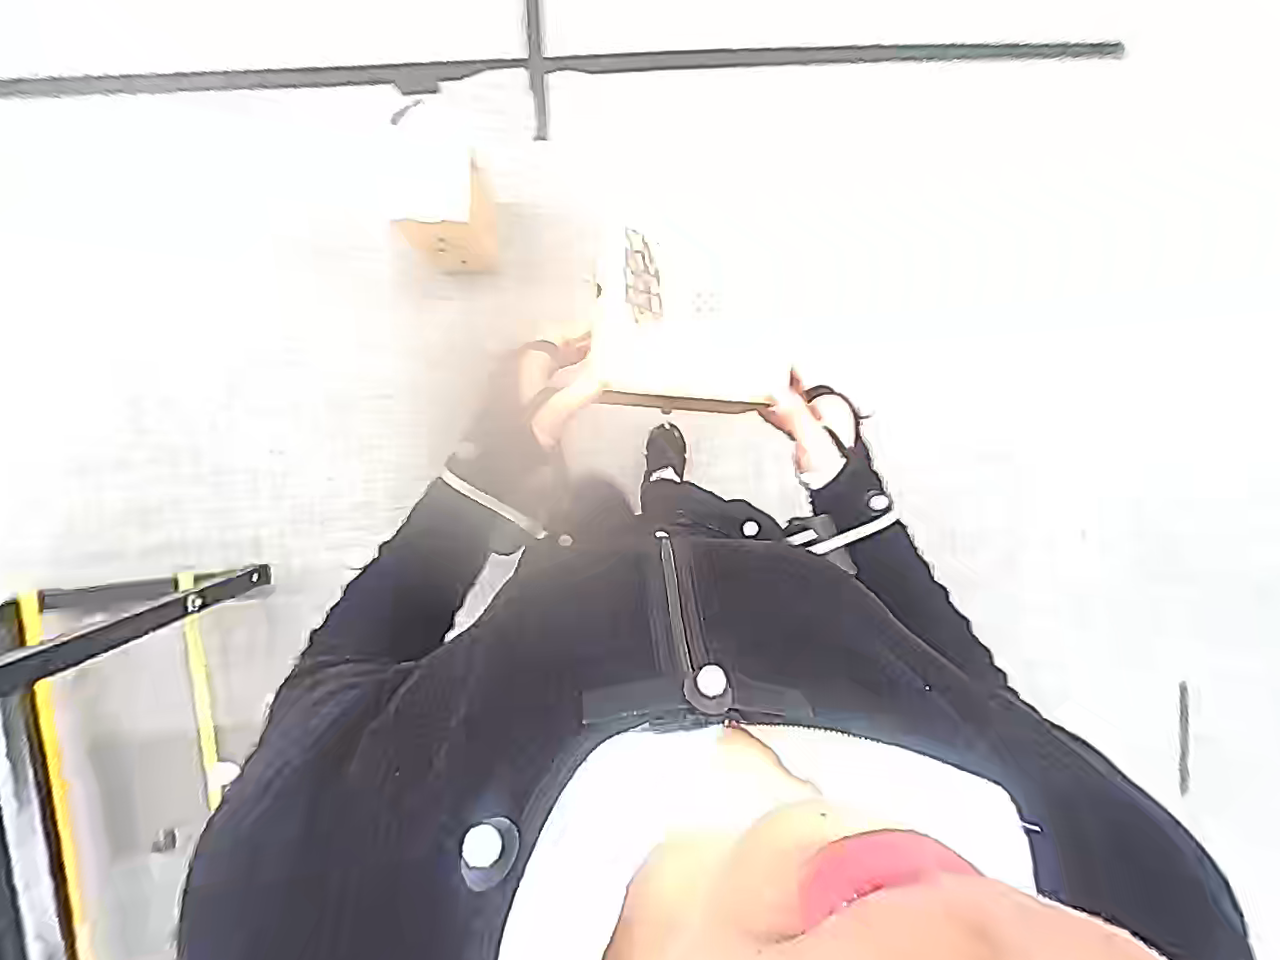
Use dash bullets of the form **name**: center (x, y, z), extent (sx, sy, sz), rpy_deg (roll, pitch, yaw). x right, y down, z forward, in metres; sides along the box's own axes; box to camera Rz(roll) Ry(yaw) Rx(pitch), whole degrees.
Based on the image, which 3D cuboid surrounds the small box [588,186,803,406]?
- **small box**: center (0.042, -0.164, 0.538), extent (0.179, 0.176, 0.168), rpy_deg (3, 94, -5)

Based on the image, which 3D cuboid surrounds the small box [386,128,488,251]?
- **small box**: center (-0.424, -0.610, 1.152), extent (0.168, 0.176, 0.179), rpy_deg (1, 95, -3)

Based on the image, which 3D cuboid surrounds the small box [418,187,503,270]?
- **small box**: center (-0.437, -0.621, 1.317), extent (0.168, 0.176, 0.179), rpy_deg (-5, 96, -3)
